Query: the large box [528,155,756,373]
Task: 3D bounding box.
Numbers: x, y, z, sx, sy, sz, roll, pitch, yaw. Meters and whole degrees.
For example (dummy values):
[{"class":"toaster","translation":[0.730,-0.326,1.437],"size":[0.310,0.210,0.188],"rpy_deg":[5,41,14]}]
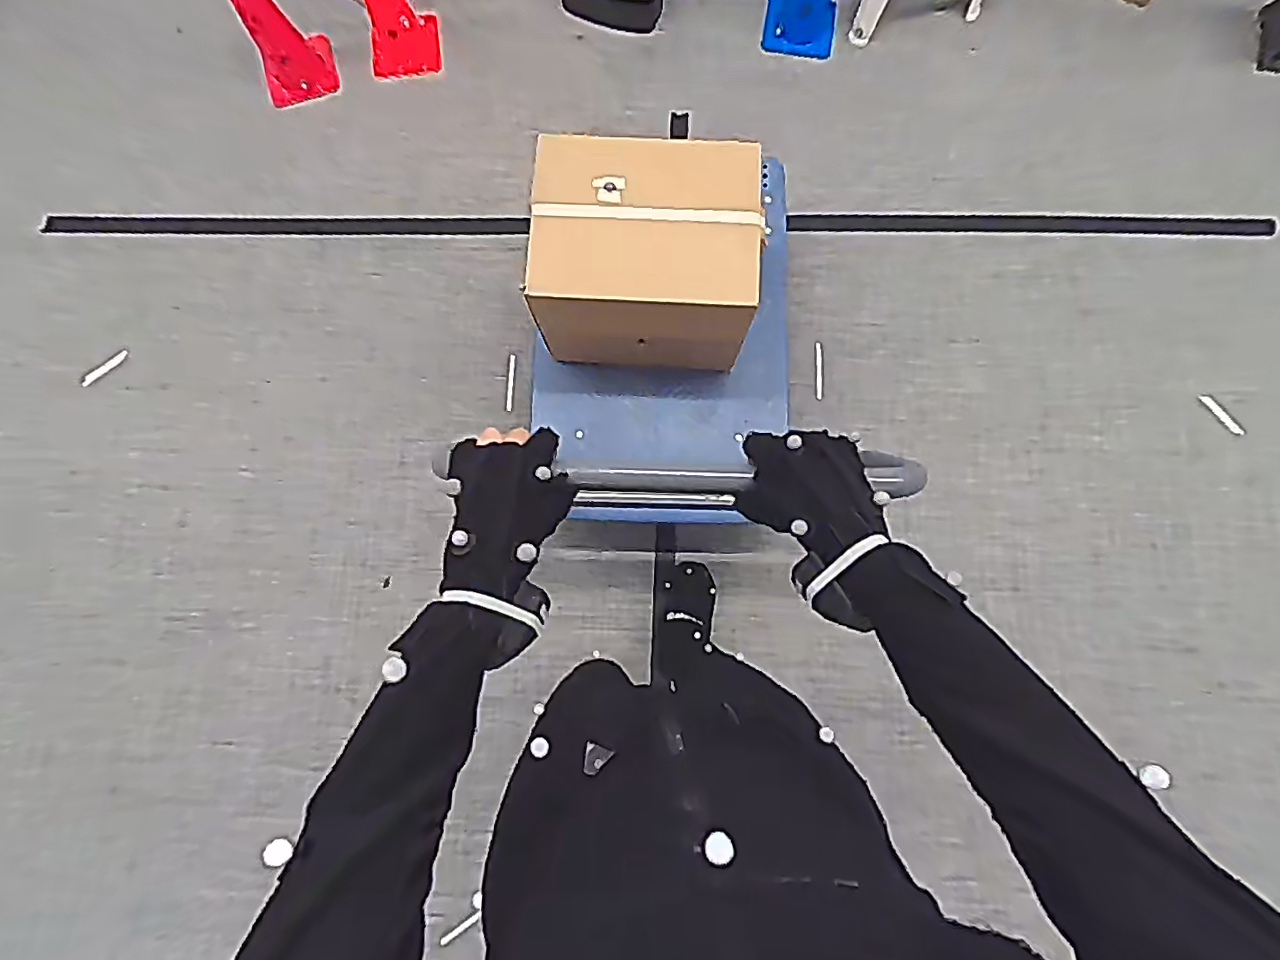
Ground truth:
[{"class":"large box","translation":[0.013,-0.417,1.107],"size":[0.408,0.320,0.320],"rpy_deg":[3,81,2]}]
